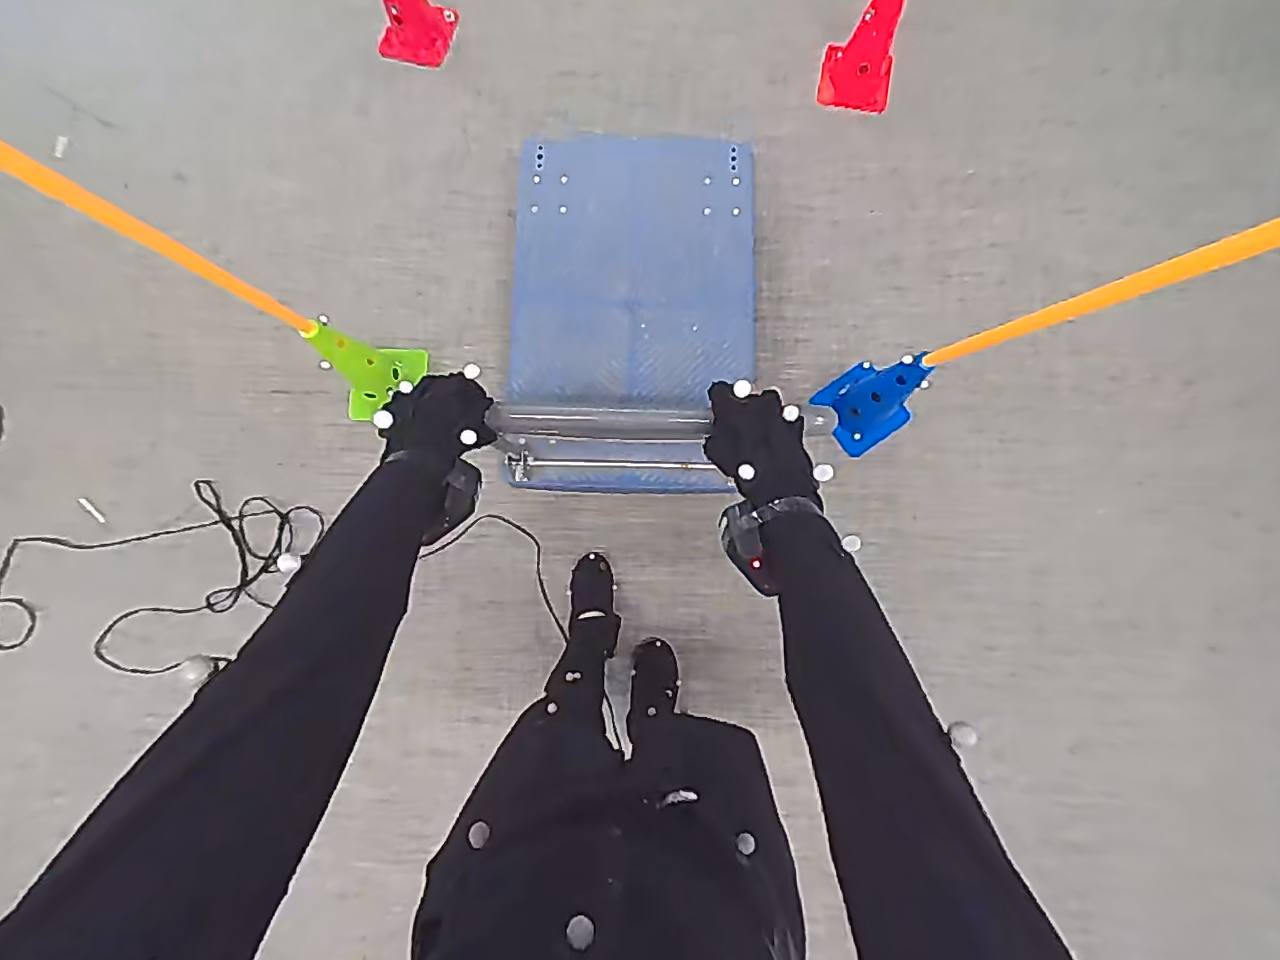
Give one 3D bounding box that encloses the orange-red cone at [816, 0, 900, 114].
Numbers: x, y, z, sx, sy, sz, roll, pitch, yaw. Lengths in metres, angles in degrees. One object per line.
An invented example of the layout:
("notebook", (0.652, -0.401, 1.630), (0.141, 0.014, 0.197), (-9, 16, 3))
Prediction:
("orange-red cone", (0.616, -1.180, 1.395), (0.198, 0.360, 0.199), (13, 82, 4))
